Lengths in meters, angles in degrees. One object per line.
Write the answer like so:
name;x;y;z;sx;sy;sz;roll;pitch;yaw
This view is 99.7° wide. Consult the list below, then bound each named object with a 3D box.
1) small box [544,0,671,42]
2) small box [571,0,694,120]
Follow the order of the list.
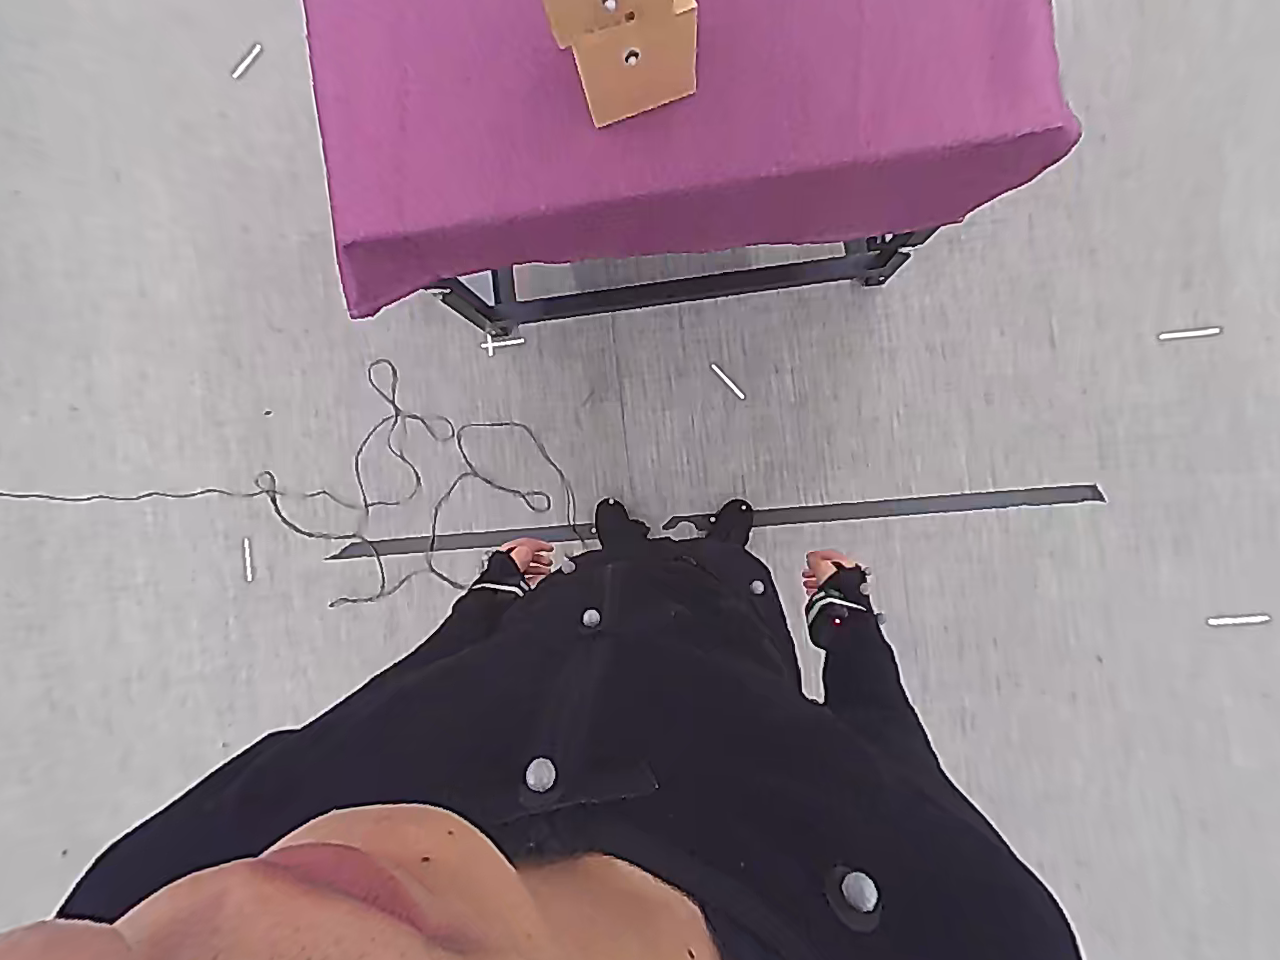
small box;-0.058;-0.697;0.657;0.168;0.176;0.179;-11;89;6
small box;-0.022;-0.694;0.819;0.179;0.176;0.168;-17;89;4
